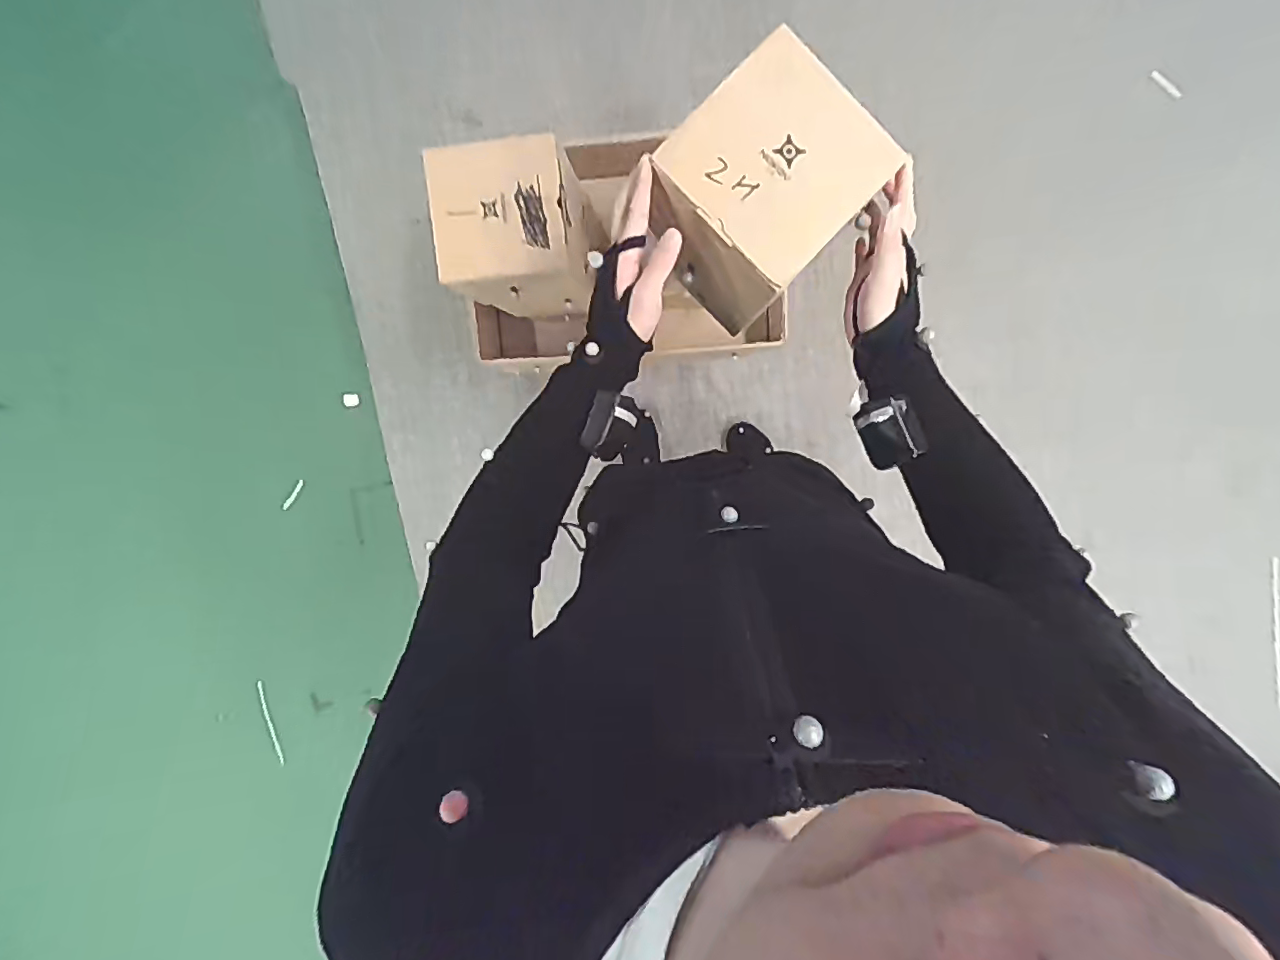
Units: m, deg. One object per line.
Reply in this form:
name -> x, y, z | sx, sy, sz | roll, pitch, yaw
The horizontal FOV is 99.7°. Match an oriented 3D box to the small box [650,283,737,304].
small box -> 0.110, -0.448, 1.069 | 0.168, 0.176, 0.179 | 2, 100, 5

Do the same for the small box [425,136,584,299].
small box -> -0.180, -0.363, 0.780 | 0.179, 0.176, 0.168 | -3, 99, 6

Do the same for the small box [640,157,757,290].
small box -> 0.093, -0.421, 0.909 | 0.179, 0.176, 0.168 | 1, 99, 4
